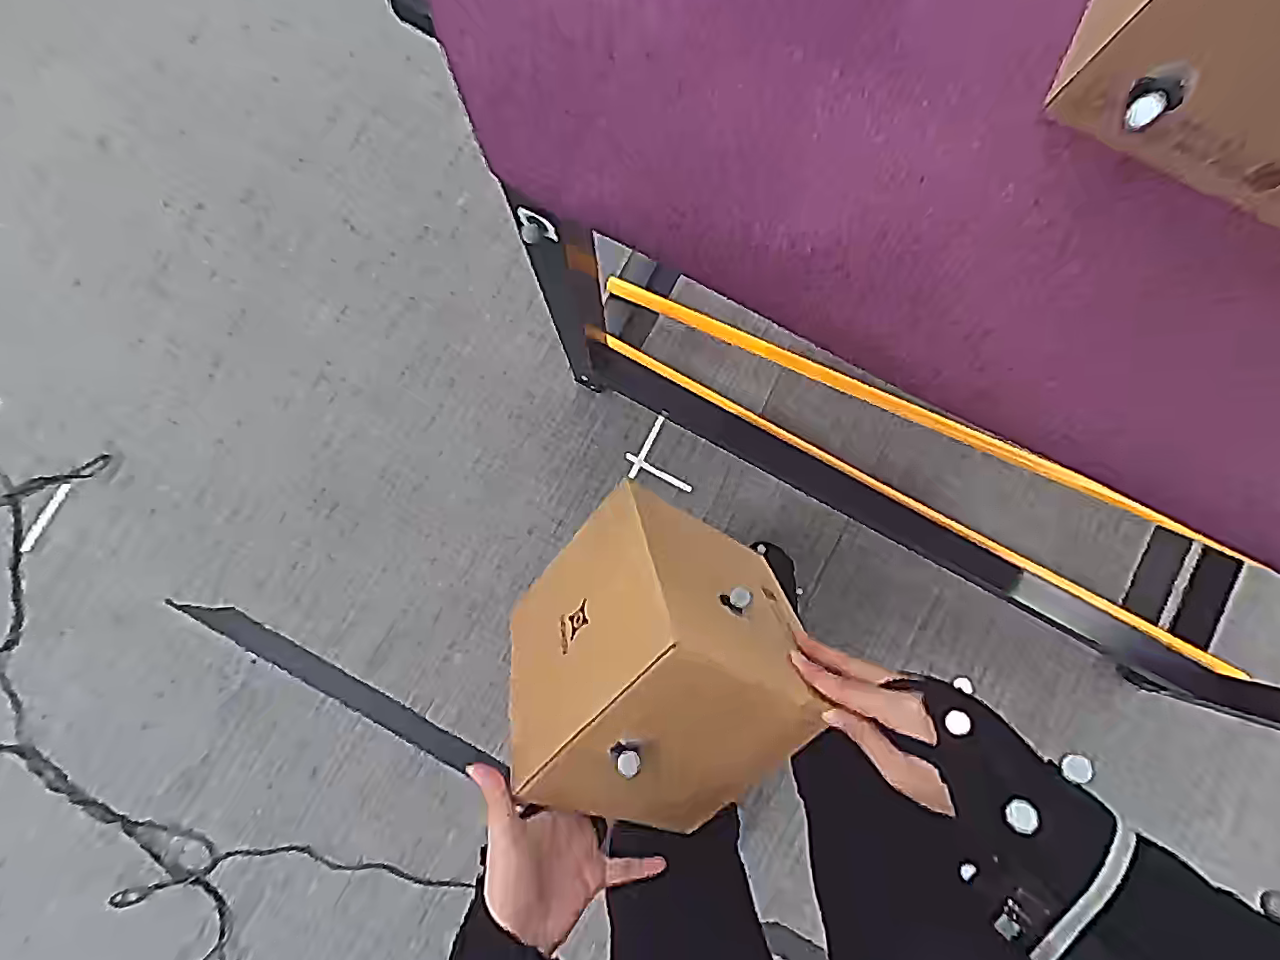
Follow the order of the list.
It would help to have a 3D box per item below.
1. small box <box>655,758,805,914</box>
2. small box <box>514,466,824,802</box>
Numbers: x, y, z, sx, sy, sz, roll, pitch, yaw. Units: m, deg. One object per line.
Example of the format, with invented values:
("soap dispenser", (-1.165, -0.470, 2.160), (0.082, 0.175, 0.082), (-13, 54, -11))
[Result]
("small box", (0.127, 0.524, 0.844), (0.179, 0.176, 0.168), (-21, 80, -4))
("small box", (0.018, 0.127, 0.433), (0.176, 0.168, 0.179), (29, 114, -29))
